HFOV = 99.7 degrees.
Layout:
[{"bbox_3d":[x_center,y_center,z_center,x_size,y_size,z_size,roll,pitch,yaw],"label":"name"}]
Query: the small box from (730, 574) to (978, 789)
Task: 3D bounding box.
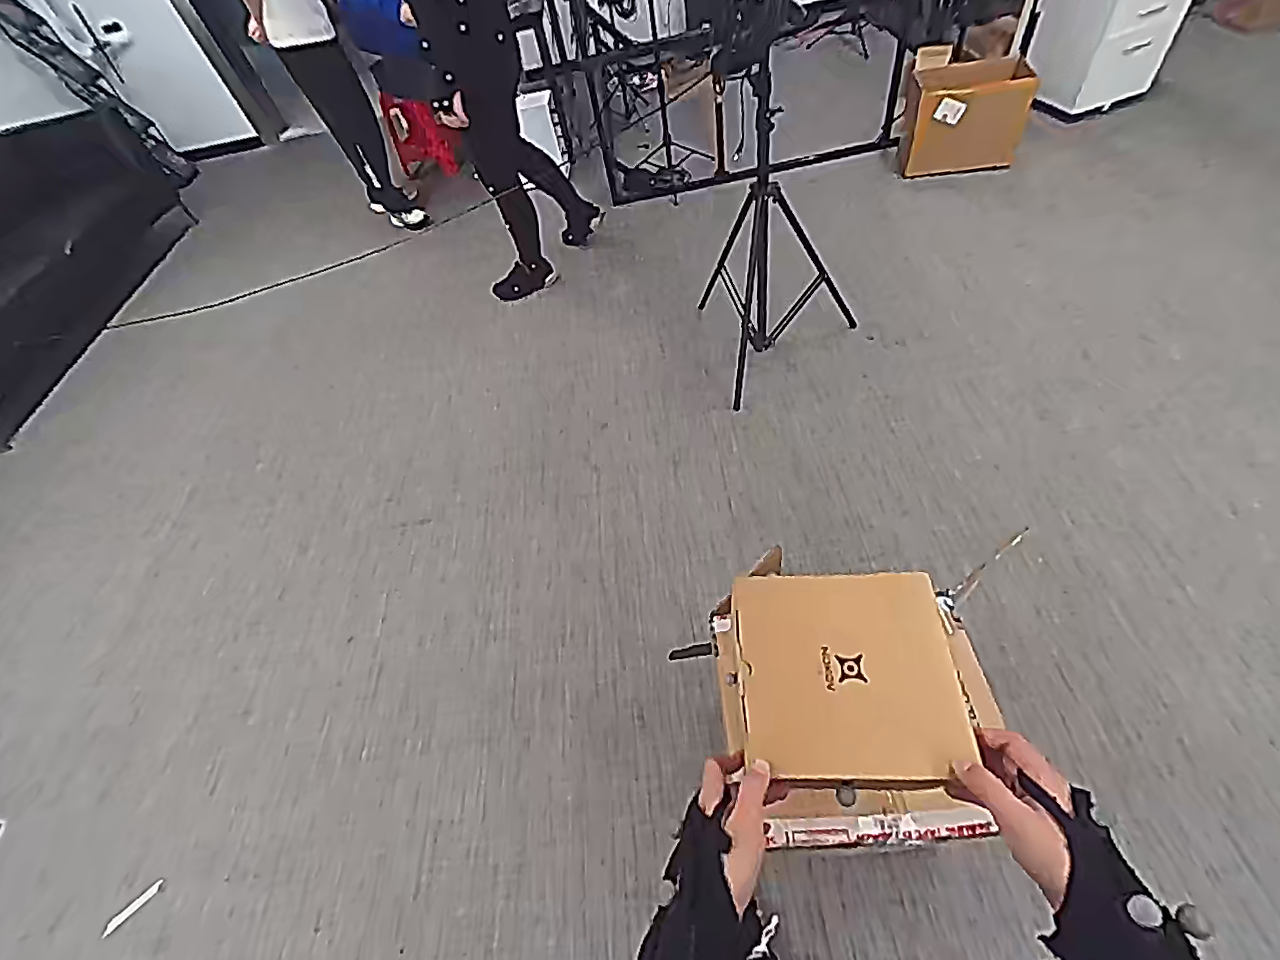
[{"bbox_3d":[0.181,0.199,0.524,0.179,0.176,0.168,-4,58,7],"label":"small box"}]
